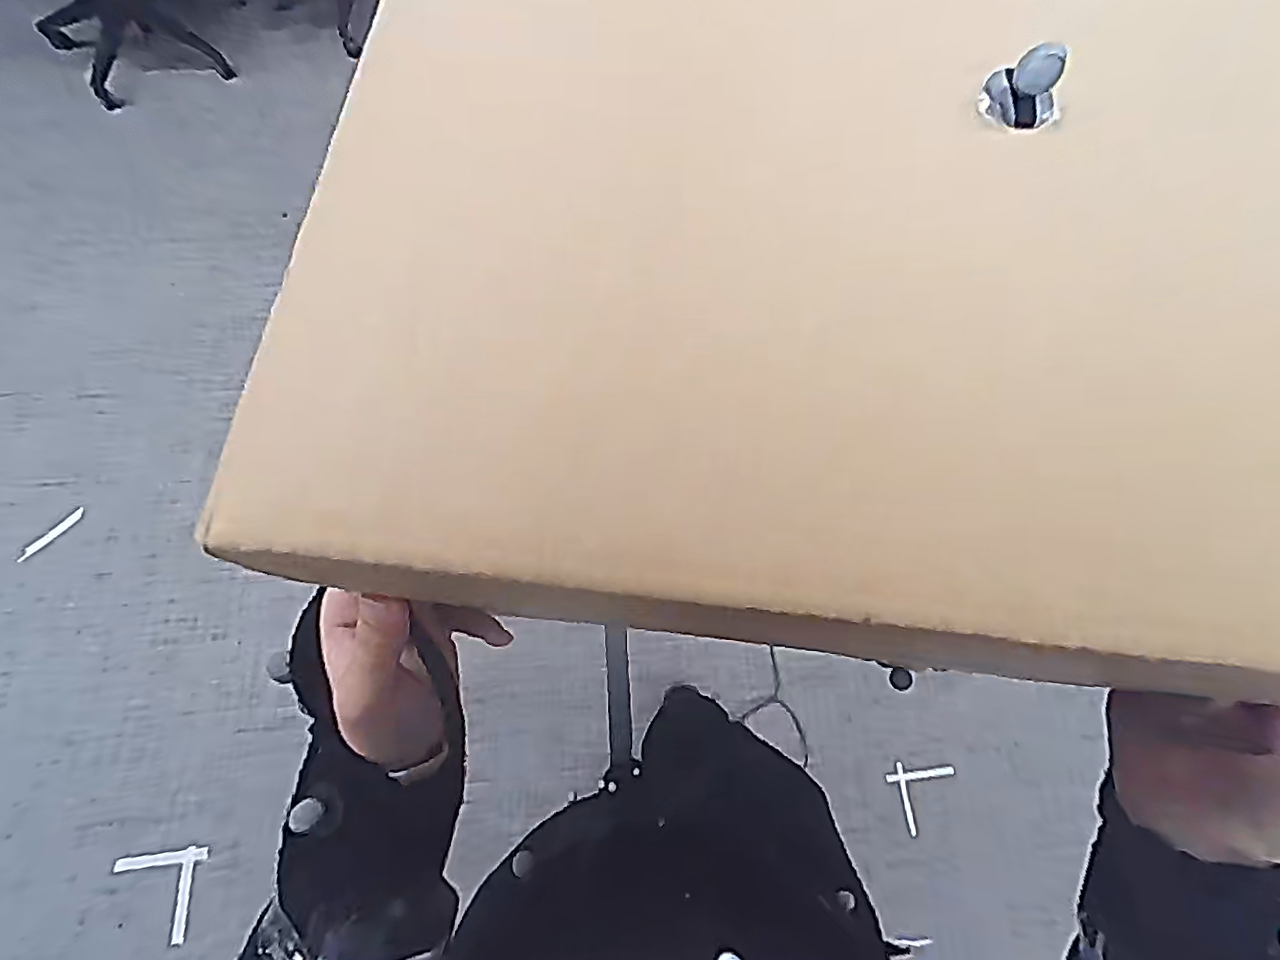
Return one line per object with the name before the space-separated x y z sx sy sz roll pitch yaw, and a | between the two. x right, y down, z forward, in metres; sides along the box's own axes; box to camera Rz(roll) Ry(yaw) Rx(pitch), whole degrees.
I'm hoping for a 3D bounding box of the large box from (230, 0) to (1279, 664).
large box | 0.101 -0.080 0.315 0.408 0.320 0.320 6 75 -1
